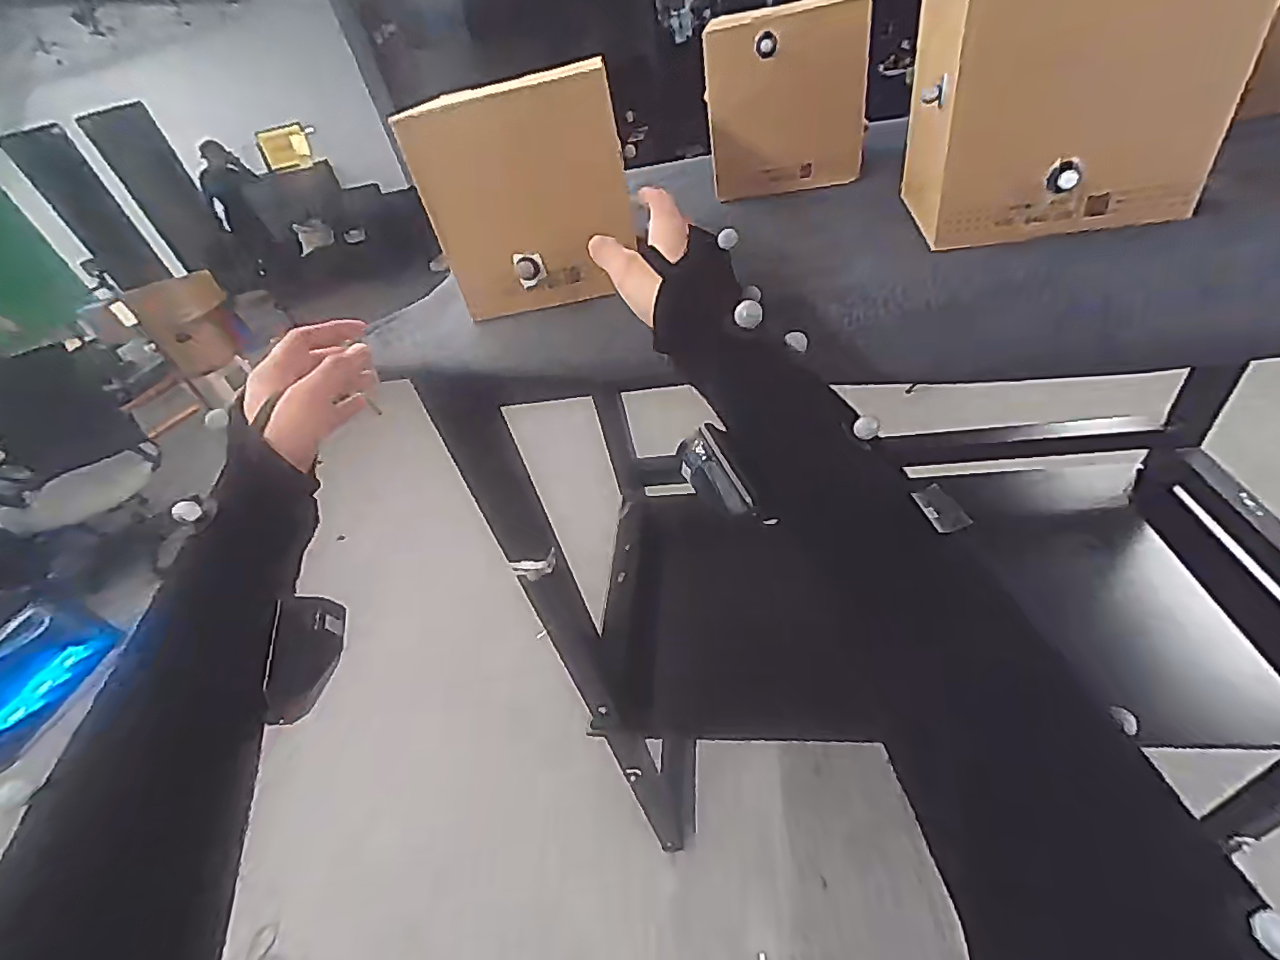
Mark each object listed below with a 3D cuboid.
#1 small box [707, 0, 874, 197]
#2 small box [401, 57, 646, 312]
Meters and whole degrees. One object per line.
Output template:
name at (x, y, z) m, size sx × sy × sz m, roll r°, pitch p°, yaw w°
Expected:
small box at (0.178, -0.460, 0.654) m, size 0.168 × 0.176 × 0.179 m, roll -2°, pitch 41°, yaw 15°
small box at (-0.091, -0.280, 0.516) m, size 0.168 × 0.176 × 0.179 m, roll -10°, pitch 39°, yaw 5°
